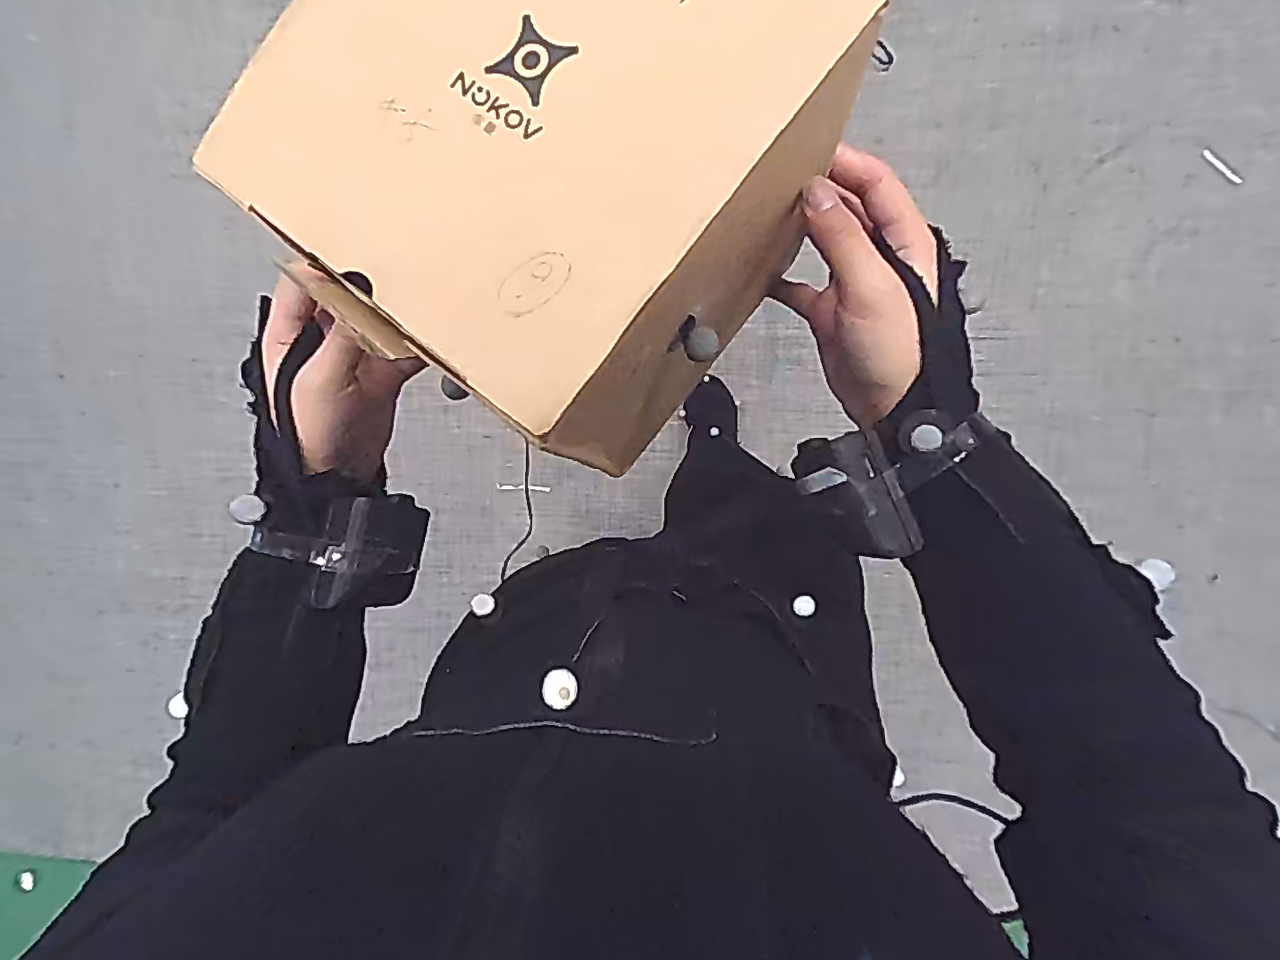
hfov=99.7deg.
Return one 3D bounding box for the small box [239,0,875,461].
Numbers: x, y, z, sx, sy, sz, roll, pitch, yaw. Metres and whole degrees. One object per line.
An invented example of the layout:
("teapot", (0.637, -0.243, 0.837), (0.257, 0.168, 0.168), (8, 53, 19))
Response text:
("small box", (-0.026, -0.125, 0.266), (0.168, 0.176, 0.179), (38, 92, 7))
